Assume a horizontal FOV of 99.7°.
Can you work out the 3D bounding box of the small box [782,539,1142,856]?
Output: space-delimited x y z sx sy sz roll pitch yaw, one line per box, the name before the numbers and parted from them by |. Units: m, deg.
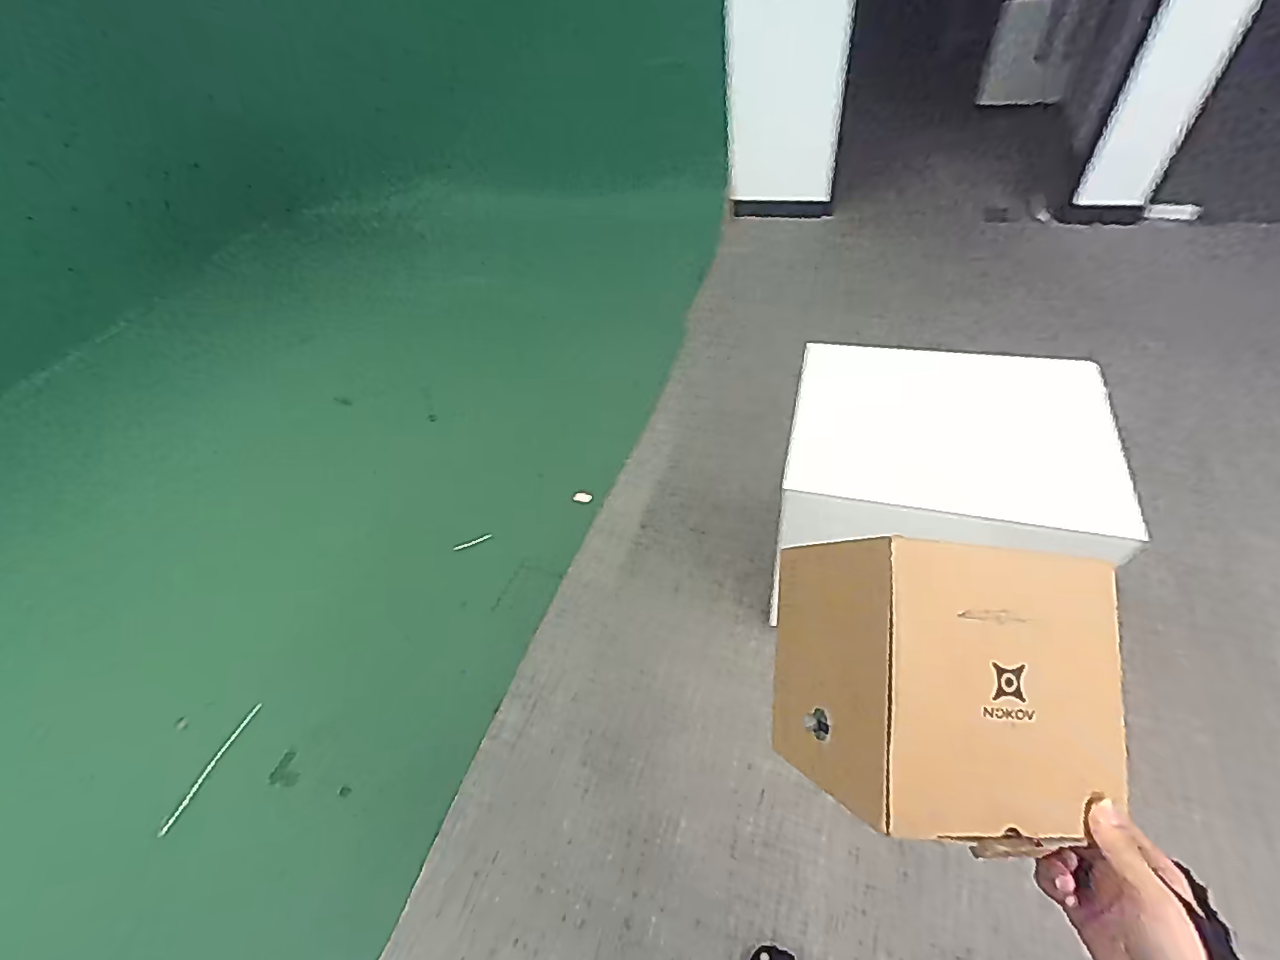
small box | 0.218 0.145 0.409 0.168 0.176 0.179 7 79 -8
